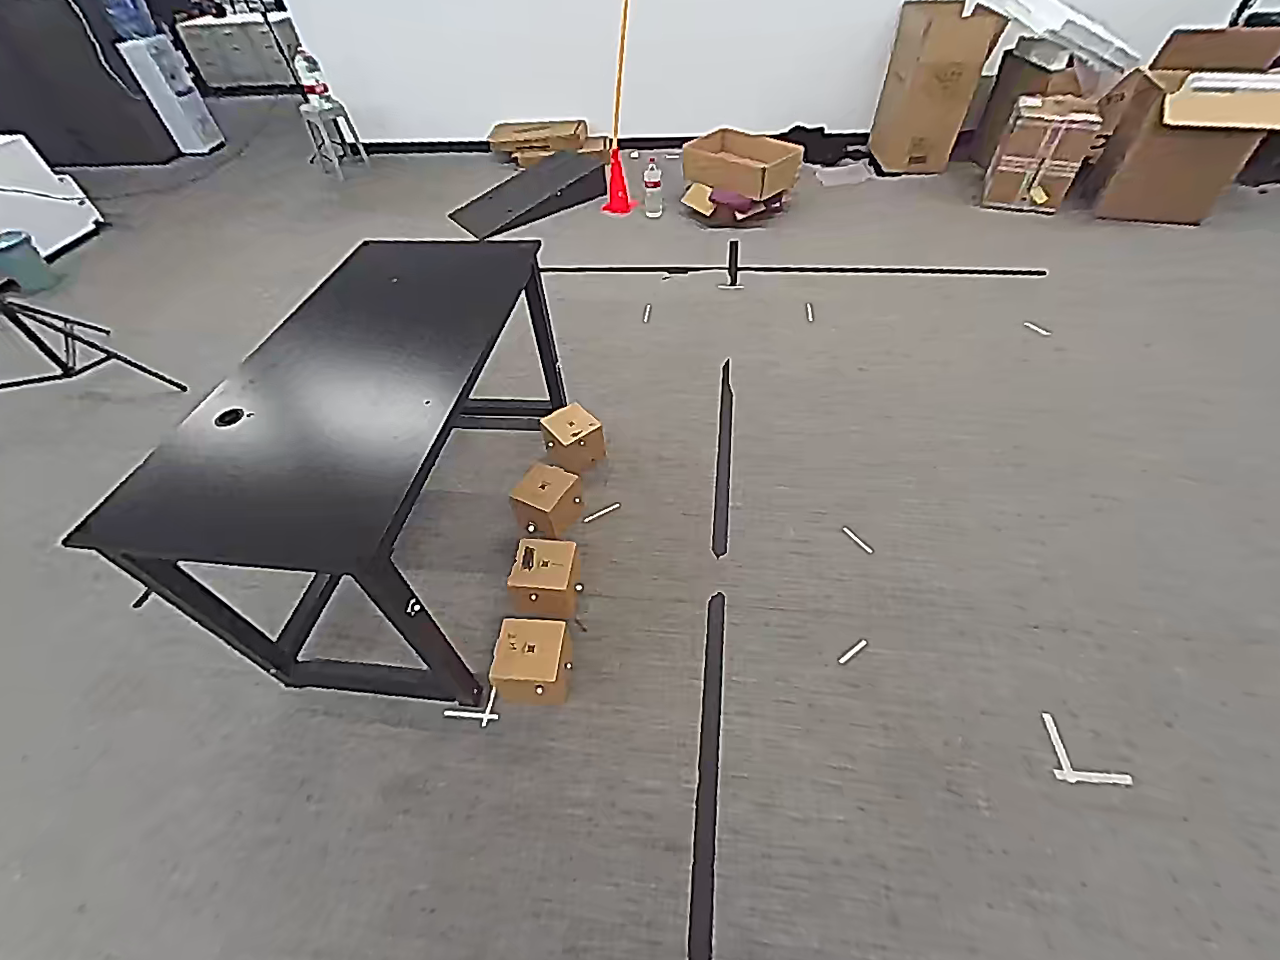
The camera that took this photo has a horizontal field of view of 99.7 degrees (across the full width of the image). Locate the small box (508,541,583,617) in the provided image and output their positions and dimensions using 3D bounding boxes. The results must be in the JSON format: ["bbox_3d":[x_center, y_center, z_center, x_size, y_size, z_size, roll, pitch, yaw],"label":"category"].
[{"bbox_3d":[-0.281,0.303,1.645,0.179,0.176,0.168,3,49,5],"label":"small box"}]

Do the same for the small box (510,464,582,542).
[{"bbox_3d":[-0.311,0.080,1.845,0.168,0.176,0.179,19,54,21],"label":"small box"}]

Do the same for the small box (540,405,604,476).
[{"bbox_3d":[-0.252,-0.147,2.037,0.168,0.176,0.179,-33,55,-23],"label":"small box"}]
